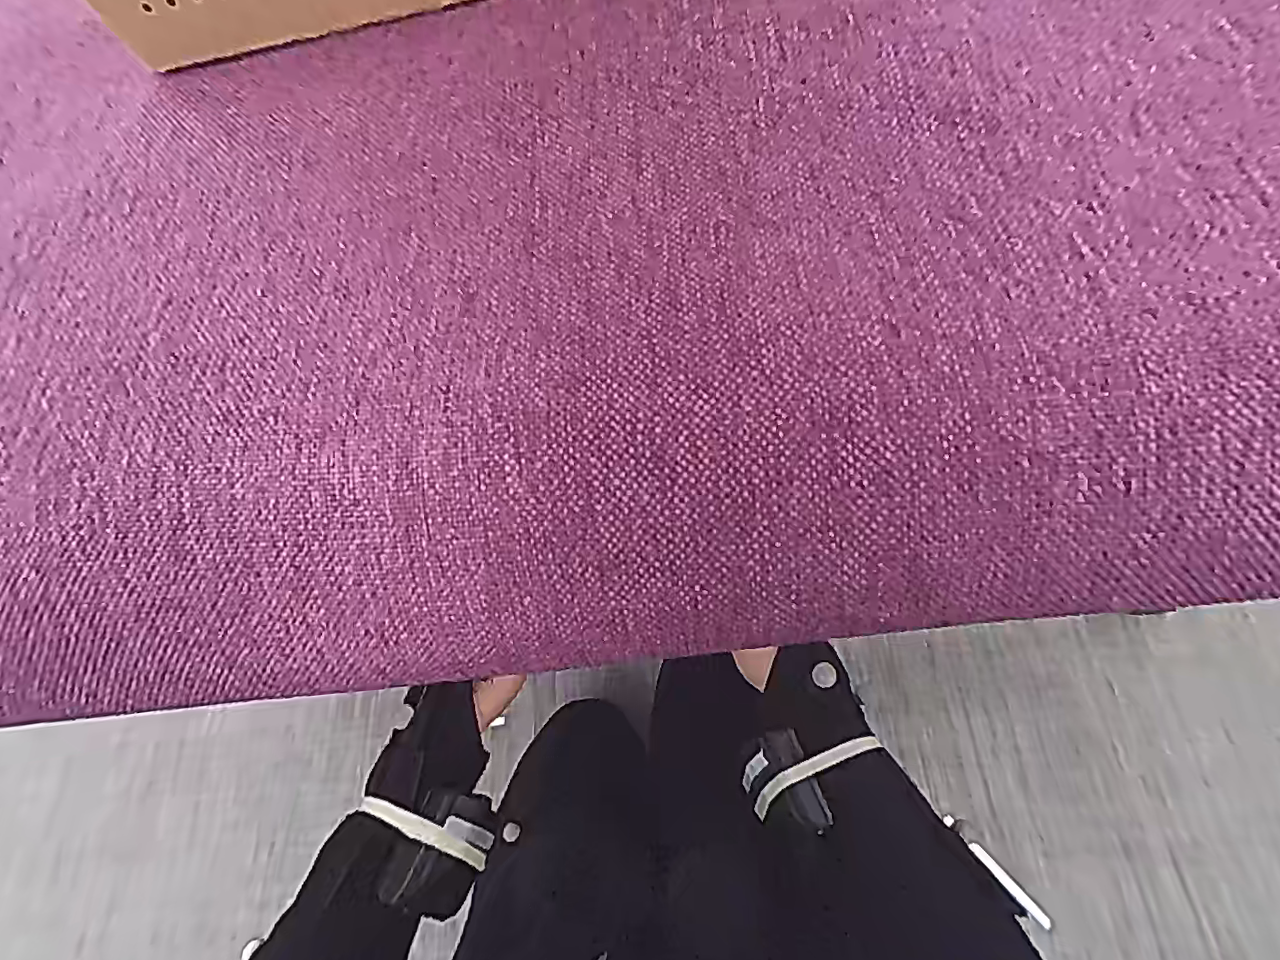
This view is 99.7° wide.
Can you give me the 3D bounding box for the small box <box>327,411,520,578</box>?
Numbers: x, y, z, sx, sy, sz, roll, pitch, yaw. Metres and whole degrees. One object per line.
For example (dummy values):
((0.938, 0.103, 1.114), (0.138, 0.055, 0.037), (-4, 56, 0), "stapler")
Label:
((-0.261, 0.028, 0.697), (0.179, 0.176, 0.168), (-7, 71, 7), "small box")
